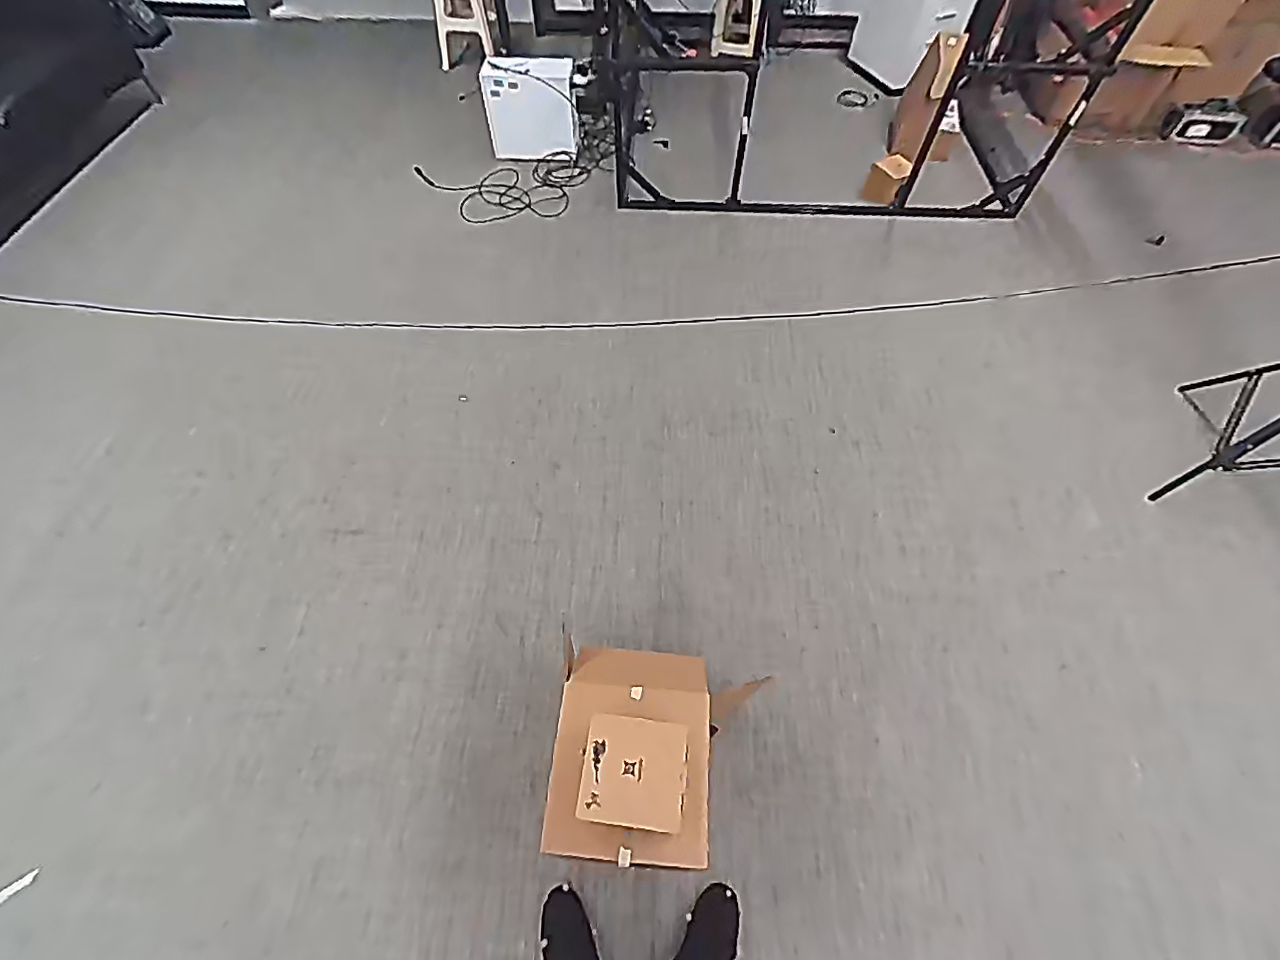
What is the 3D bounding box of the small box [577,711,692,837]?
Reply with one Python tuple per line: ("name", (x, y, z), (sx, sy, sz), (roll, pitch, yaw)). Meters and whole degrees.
("small box", (-0.007, 0.530, 0.977), (0.179, 0.176, 0.168), (8, 59, 4))
